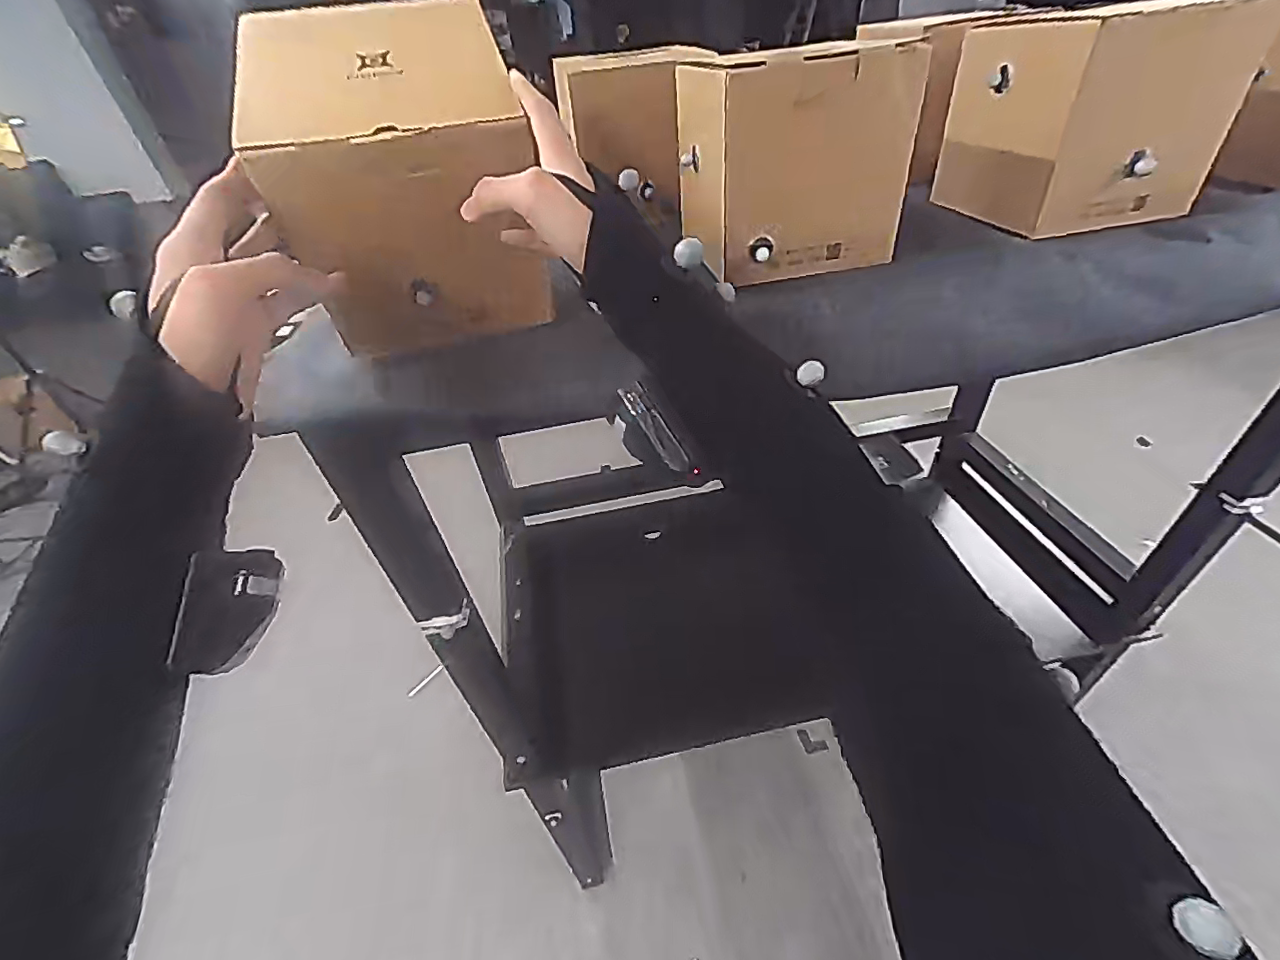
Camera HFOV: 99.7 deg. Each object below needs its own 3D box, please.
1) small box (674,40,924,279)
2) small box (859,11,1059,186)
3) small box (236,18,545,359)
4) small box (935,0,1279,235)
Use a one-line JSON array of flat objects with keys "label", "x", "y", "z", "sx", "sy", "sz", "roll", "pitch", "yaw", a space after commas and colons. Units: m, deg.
[{"label": "small box", "x": 0.134, "y": -0.304, "z": 0.521, "sx": 0.168, "sy": 0.176, "sz": 0.179, "roll": -10, "pitch": 39, "yaw": -4}, {"label": "small box", "x": 0.398, "y": -0.515, "z": 0.732, "sx": 0.179, "sy": 0.176, "sz": 0.168, "roll": -10, "pitch": 40, "yaw": -4}, {"label": "small box", "x": -0.179, "y": -0.225, "z": 0.428, "sx": 0.168, "sy": 0.176, "sz": 0.179, "roll": -15, "pitch": 60, "yaw": -12}, {"label": "small box", "x": 0.431, "y": -0.358, "z": 0.540, "sx": 0.168, "sy": 0.176, "sz": 0.179, "roll": -10, "pitch": 39, "yaw": -3}]
